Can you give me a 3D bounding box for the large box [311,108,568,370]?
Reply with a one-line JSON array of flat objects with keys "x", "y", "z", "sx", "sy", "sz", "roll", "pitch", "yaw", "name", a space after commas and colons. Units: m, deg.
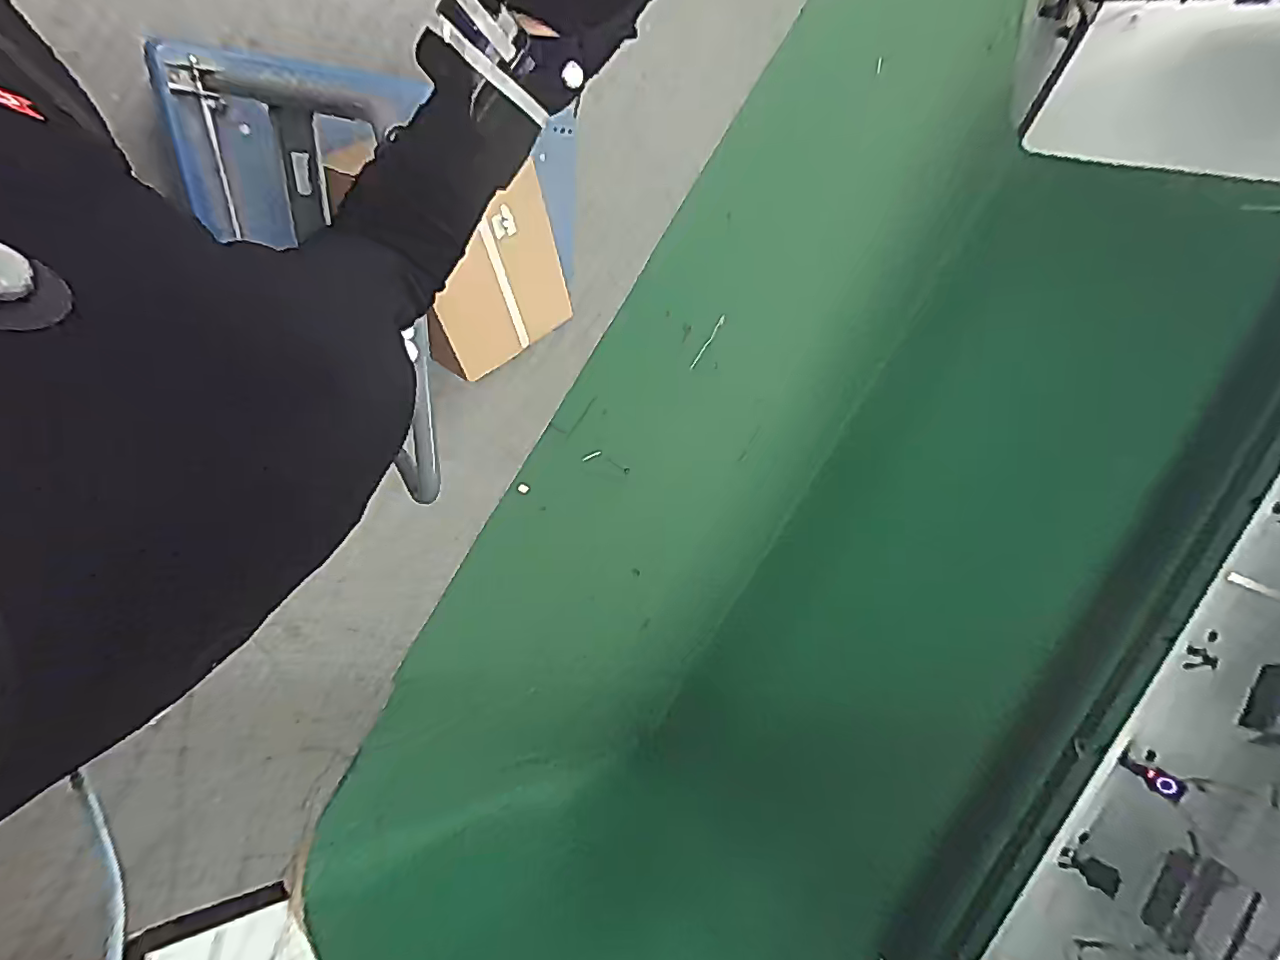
[{"x": -0.410, "y": -0.523, "z": 1.176, "sx": 0.320, "sy": 0.320, "sz": 0.408, "roll": -42, "pitch": 143, "yaw": -24, "name": "large box"}]
